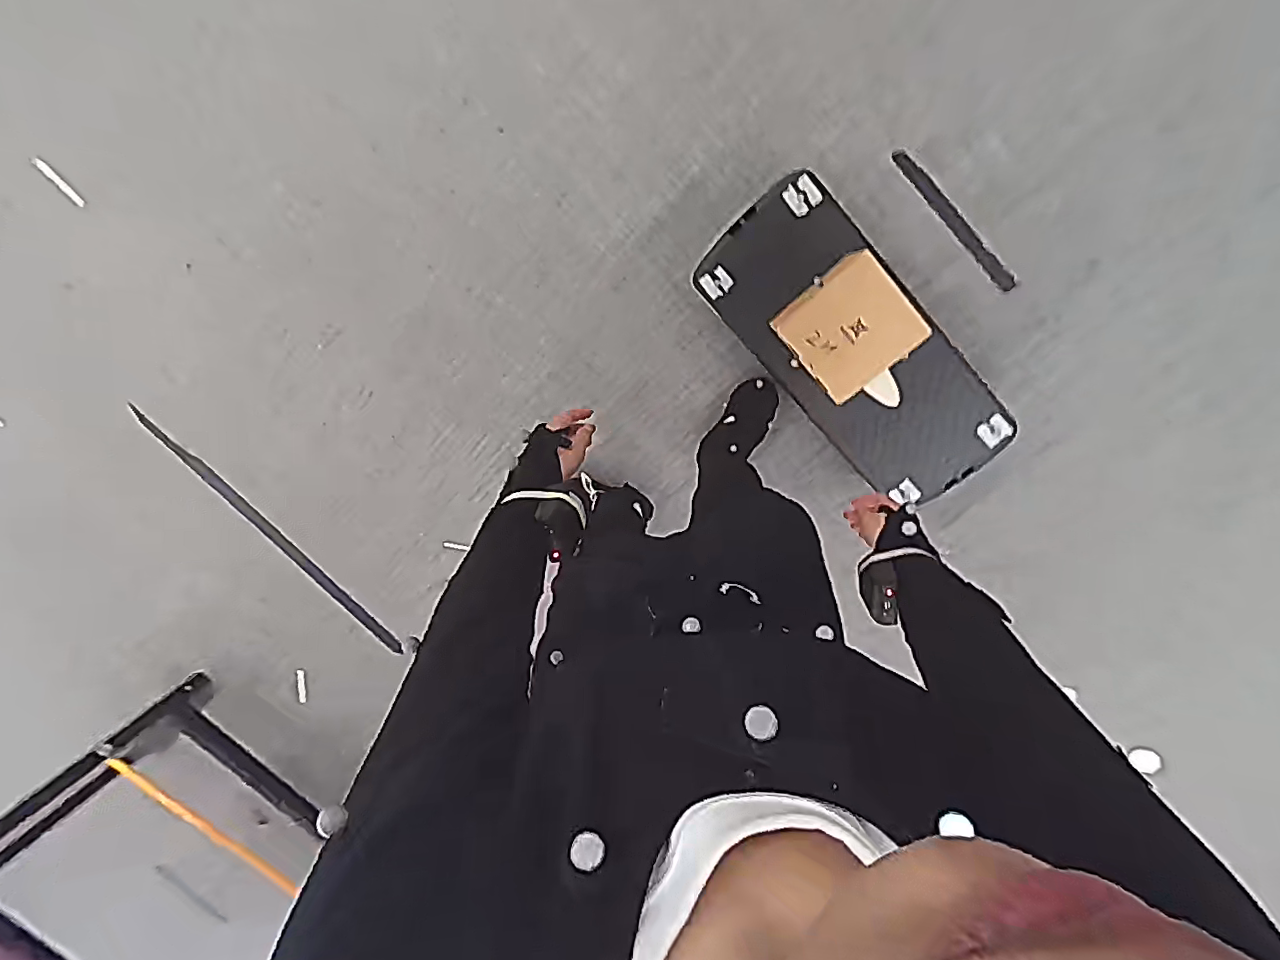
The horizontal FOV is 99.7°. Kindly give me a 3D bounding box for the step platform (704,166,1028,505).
[{"bbox_3d":[0.442,-0.273,1.095,0.286,0.204,0.684,-41,97,19],"label":"step platform"}]

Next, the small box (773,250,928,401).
[{"bbox_3d":[0.345,-0.265,0.928,0.179,0.176,0.168,-39,98,20],"label":"small box"}]
